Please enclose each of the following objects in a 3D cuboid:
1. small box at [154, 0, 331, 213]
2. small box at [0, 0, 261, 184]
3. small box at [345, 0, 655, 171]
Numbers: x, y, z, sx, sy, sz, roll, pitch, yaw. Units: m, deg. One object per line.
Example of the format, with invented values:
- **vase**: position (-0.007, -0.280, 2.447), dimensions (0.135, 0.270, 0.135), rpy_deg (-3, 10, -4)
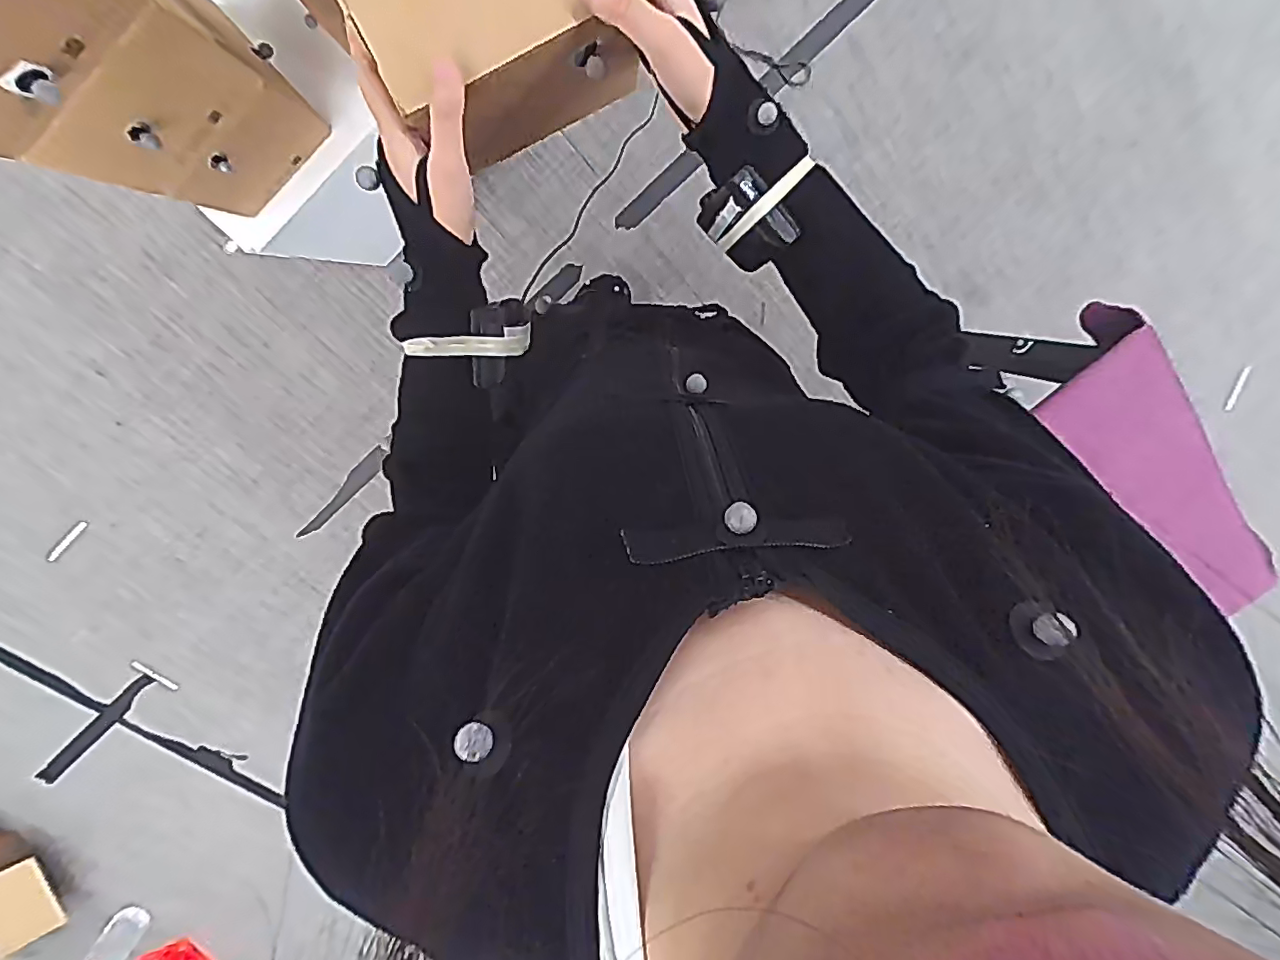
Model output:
- **small box**: position (-0.501, -0.435, 0.609), dimensions (0.168, 0.176, 0.179), rpy_deg (-41, 108, 7)
- **small box**: position (-0.479, -0.381, 0.456), dimensions (0.168, 0.176, 0.179), rpy_deg (-42, 108, 8)
- **small box**: position (-0.105, -0.352, 0.378), dimensions (0.179, 0.176, 0.168), rpy_deg (-25, 107, 4)
